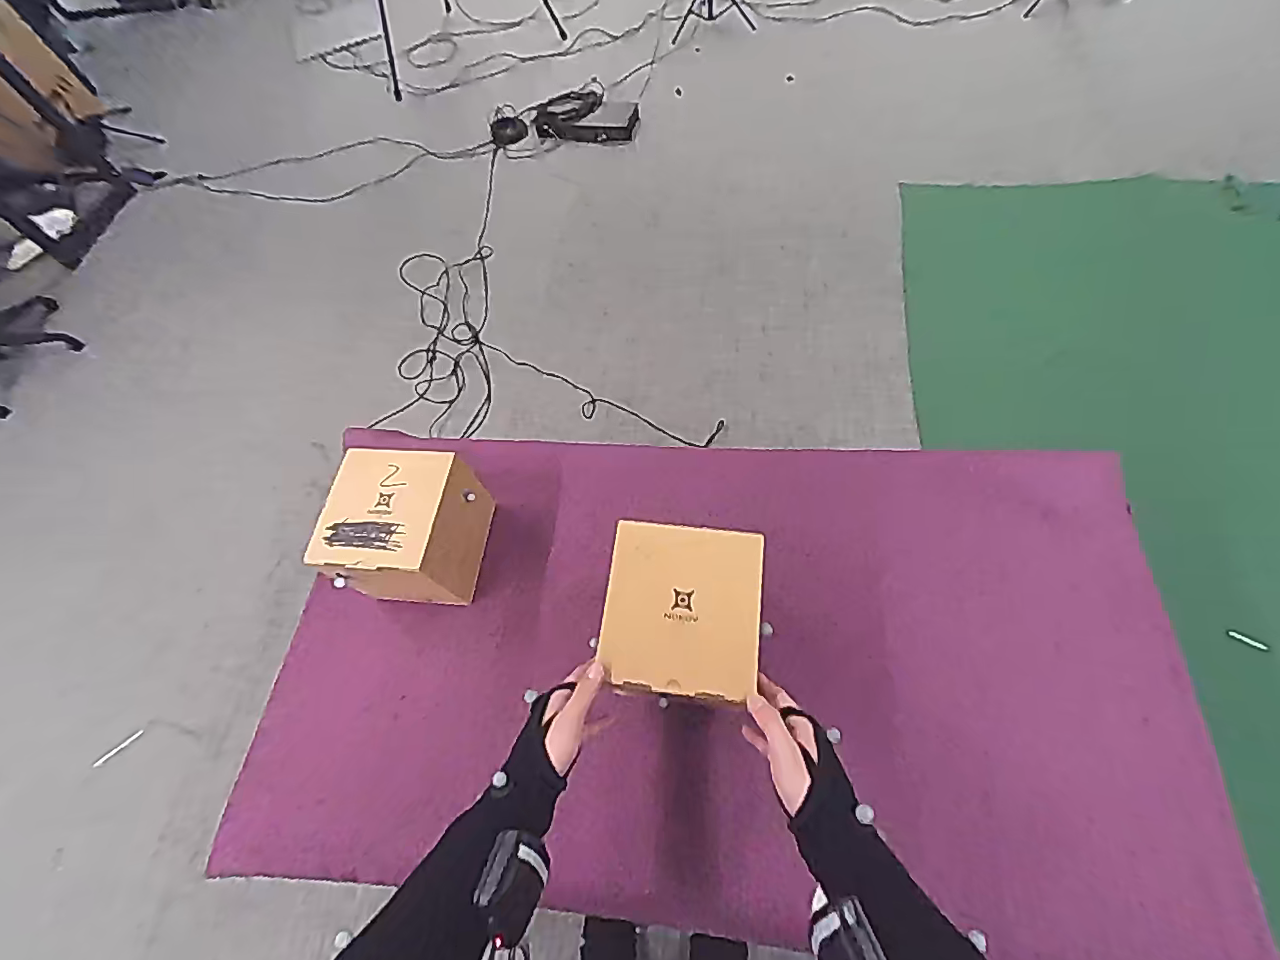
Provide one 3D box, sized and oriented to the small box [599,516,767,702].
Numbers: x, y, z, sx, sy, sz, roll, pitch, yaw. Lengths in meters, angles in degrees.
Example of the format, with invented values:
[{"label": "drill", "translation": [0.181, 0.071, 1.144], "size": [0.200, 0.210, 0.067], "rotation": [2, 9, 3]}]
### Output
[{"label": "small box", "translation": [0.054, 0.160, 0.646], "size": [0.168, 0.176, 0.179], "rotation": [5, 67, 7]}]
